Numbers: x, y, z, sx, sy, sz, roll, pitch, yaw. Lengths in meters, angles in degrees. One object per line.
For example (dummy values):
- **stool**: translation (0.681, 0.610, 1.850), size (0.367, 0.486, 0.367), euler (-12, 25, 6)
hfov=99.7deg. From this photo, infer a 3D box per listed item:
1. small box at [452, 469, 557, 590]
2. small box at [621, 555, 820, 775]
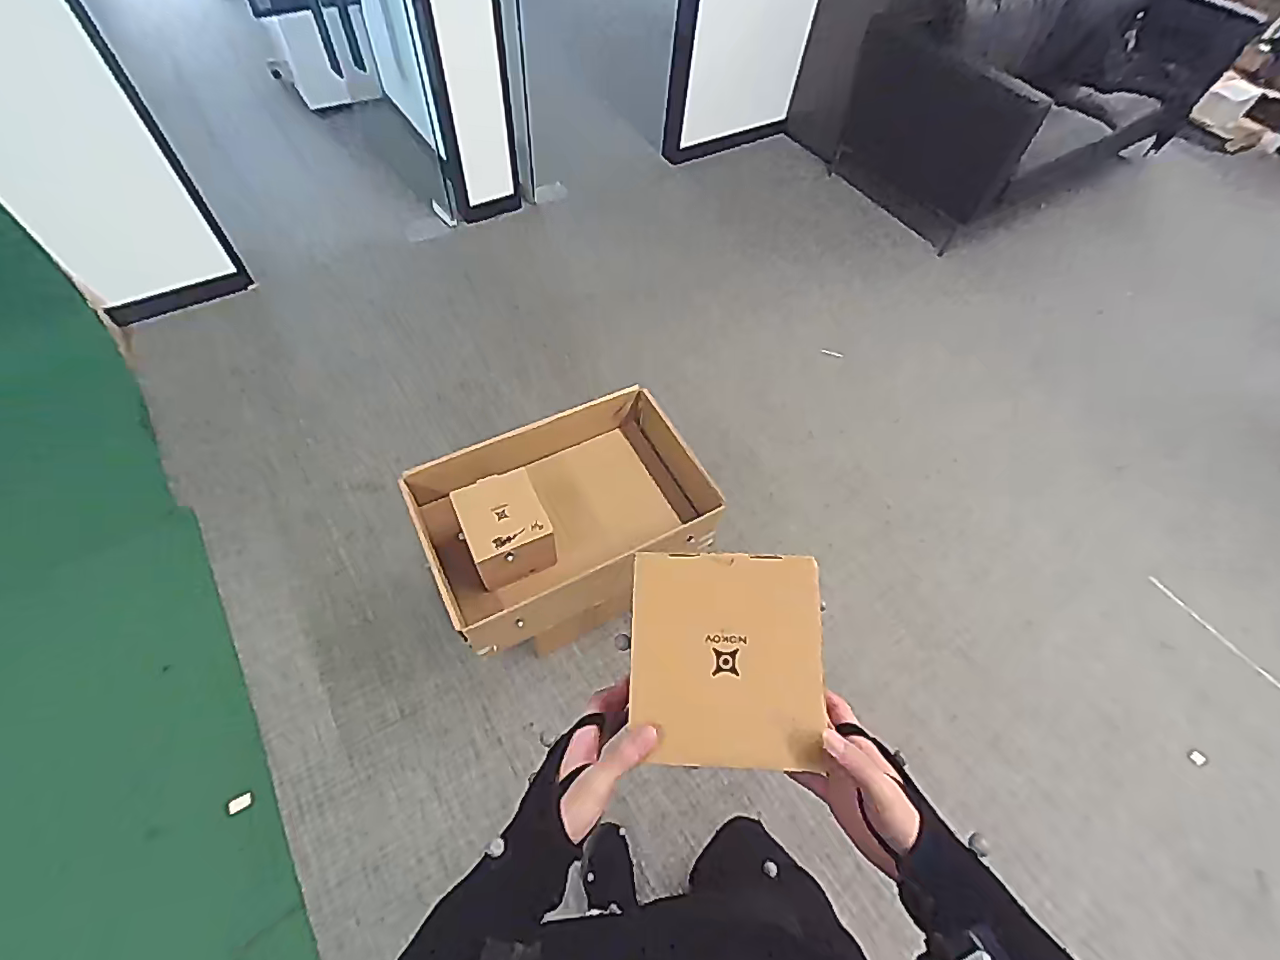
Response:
- **small box**: translation (-0.289, 0.110, 1.172), size (0.168, 0.176, 0.179), euler (-21, 62, -17)
- **small box**: translation (0.073, 0.176, 0.541), size (0.168, 0.176, 0.179), euler (1, 73, 3)
